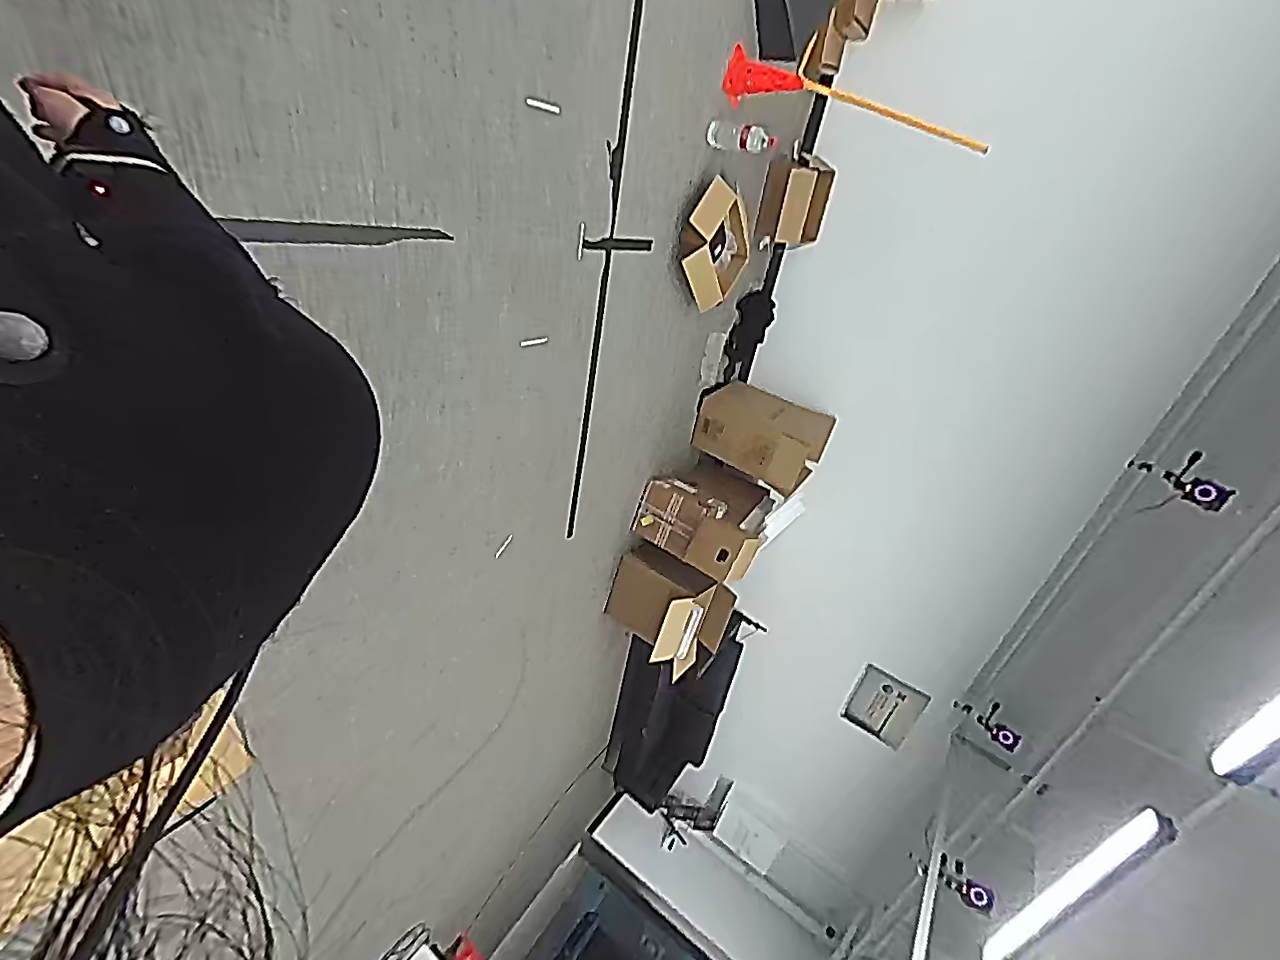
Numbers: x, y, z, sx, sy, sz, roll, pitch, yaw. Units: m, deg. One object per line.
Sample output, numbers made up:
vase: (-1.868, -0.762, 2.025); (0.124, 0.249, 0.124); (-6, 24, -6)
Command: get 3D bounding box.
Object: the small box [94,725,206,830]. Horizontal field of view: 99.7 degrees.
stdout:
small box: (-1.379, 0.826, 1.523); (0.168, 0.176, 0.179); (-33, 142, -46)
